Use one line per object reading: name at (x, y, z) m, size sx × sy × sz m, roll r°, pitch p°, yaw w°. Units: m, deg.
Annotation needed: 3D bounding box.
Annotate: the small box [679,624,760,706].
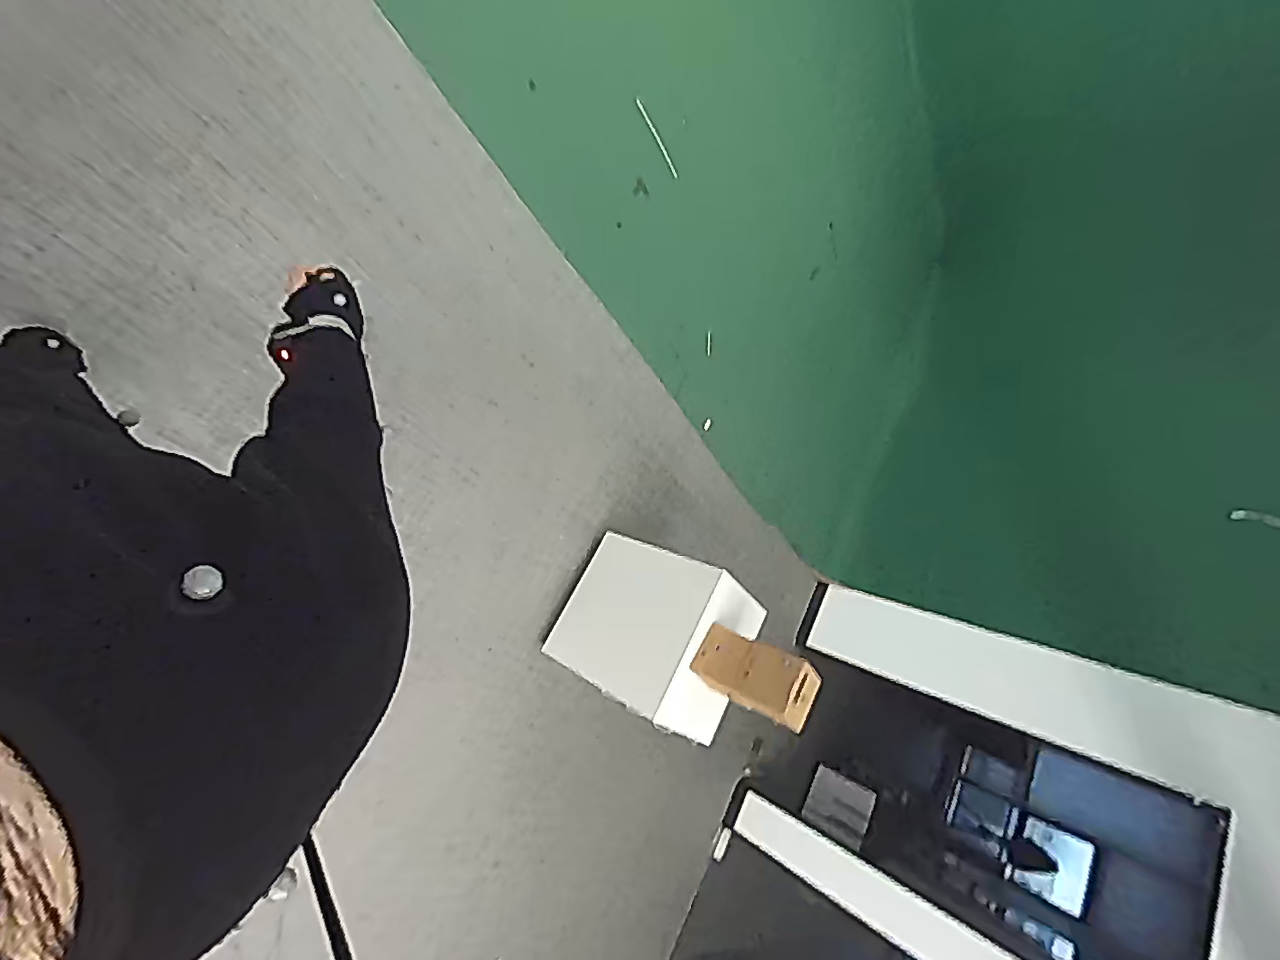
small box at (0.255, 0.588, 1.732) m, size 0.168 × 0.176 × 0.179 m, roll -56°, pitch 135°, yaw -22°
